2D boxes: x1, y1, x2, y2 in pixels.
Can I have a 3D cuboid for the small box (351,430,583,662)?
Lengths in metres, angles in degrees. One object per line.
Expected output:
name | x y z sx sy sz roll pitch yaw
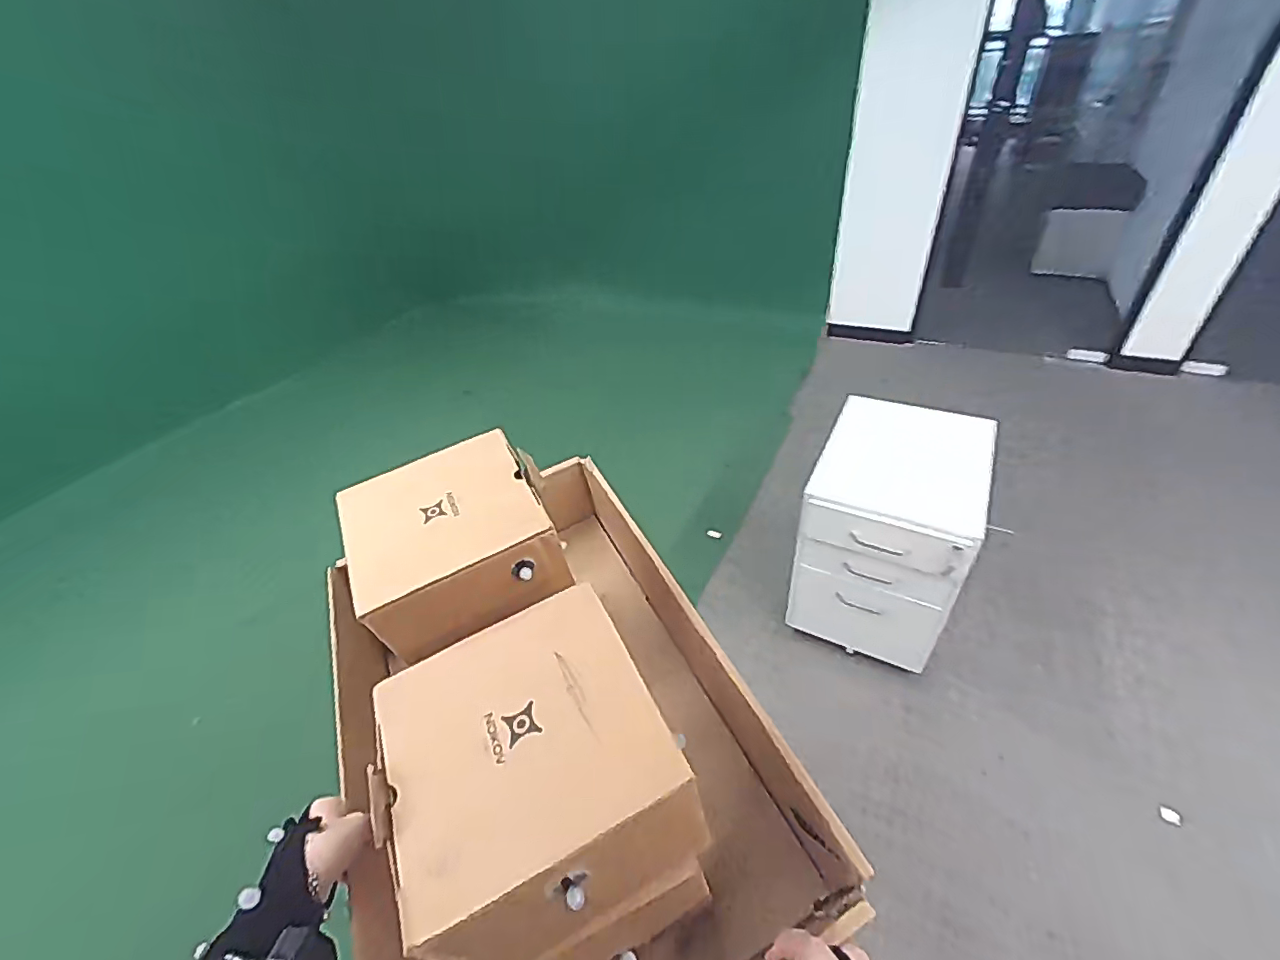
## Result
small box | -0.171 0.083 0.570 0.179 0.176 0.168 -24 47 -15

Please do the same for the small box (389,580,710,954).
small box | -0.061 0.216 0.412 0.179 0.176 0.168 -24 46 -13
